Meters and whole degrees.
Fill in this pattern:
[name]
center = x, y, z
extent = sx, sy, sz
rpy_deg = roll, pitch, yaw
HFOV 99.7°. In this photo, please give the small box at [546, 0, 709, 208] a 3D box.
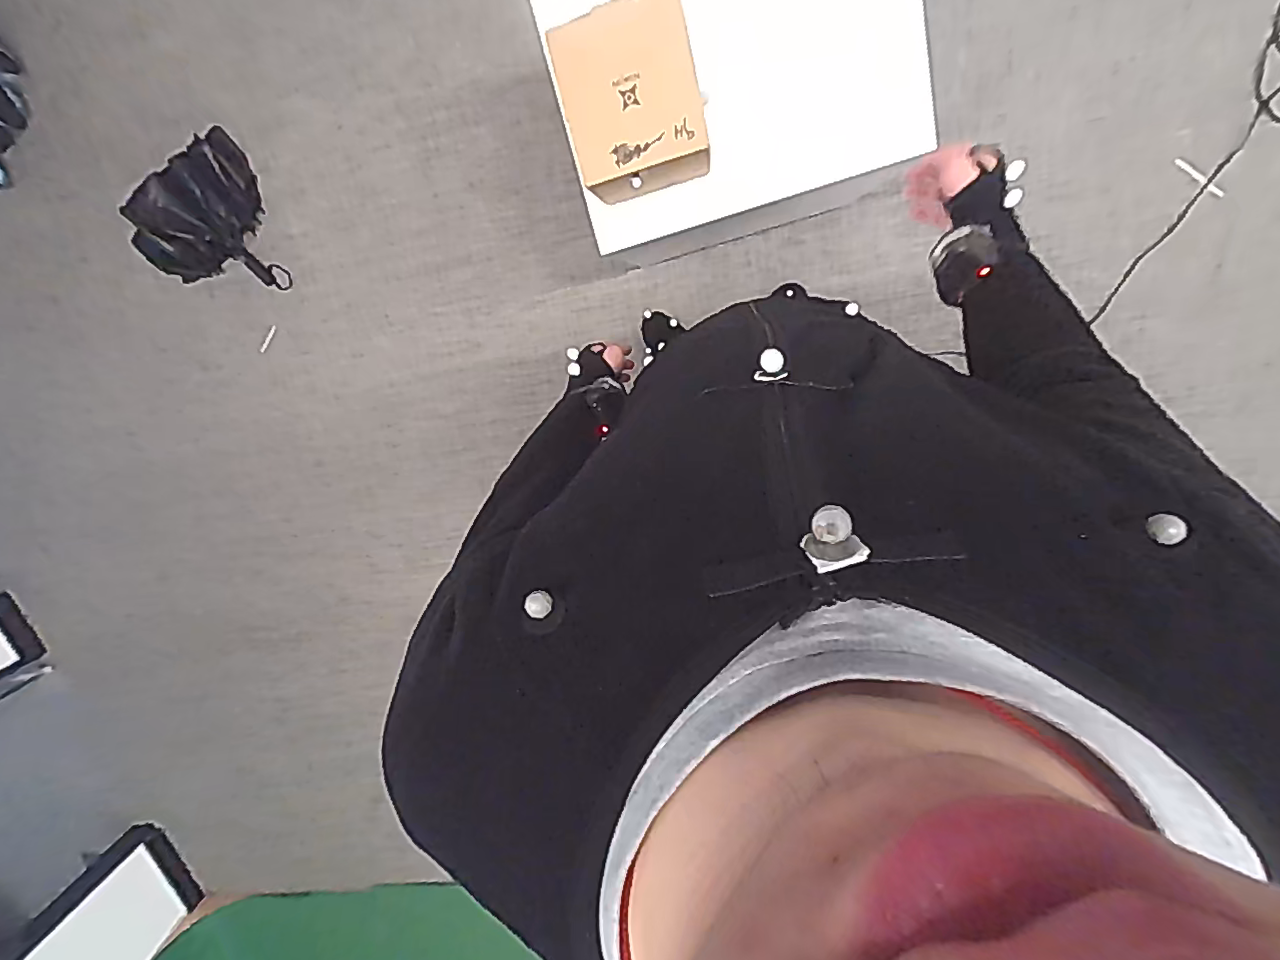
[small box]
center = -0.007, -0.492, 0.726
extent = 0.168, 0.176, 0.179
rpy_deg = -13, 106, 11
